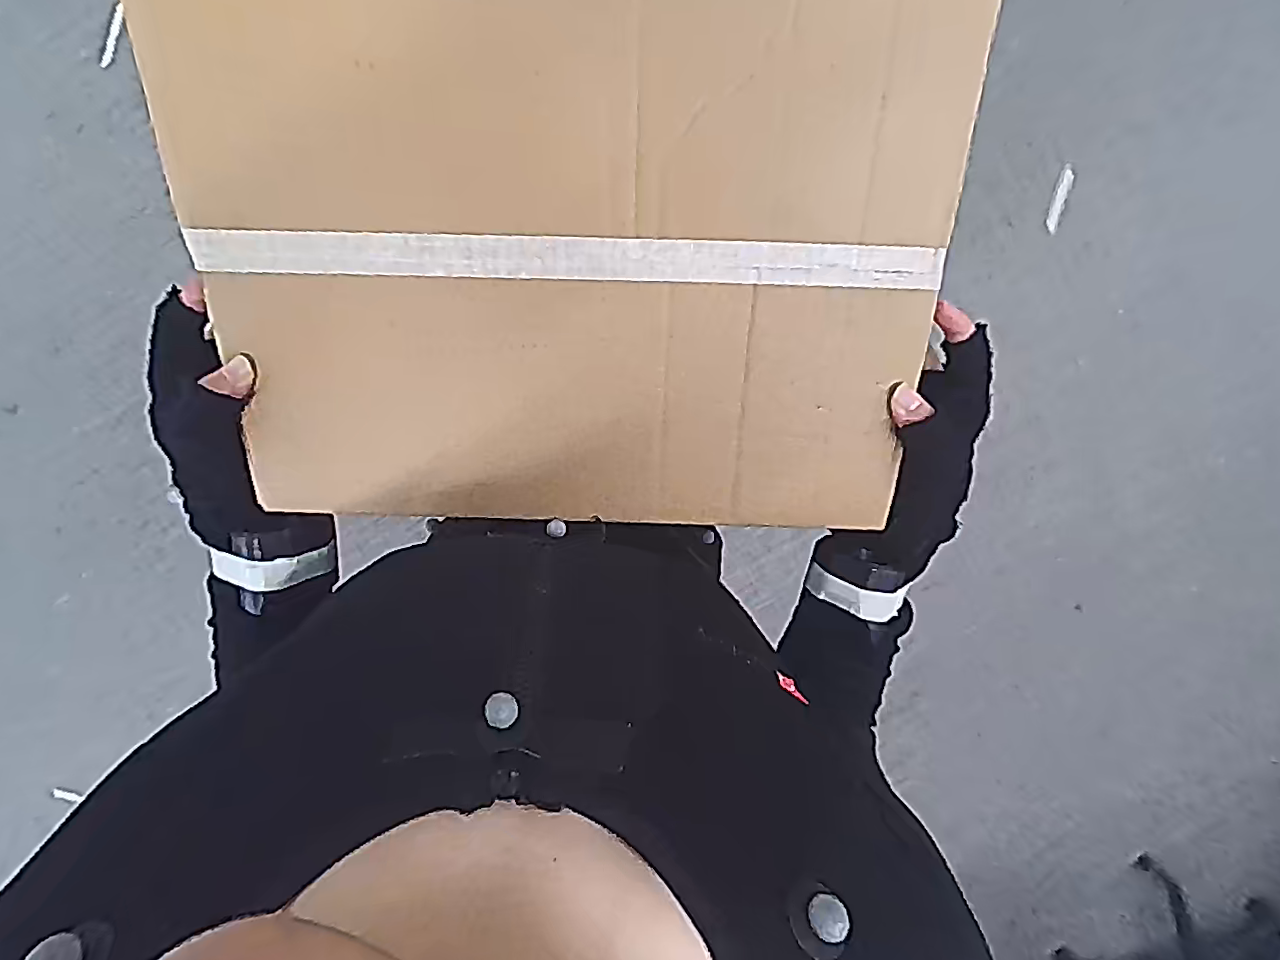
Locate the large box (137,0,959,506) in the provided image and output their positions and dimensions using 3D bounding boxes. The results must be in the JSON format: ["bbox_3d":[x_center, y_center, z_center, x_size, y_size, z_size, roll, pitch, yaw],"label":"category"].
[{"bbox_3d":[-0.046,-0.181,0.440,0.408,0.320,0.320,0,113,0],"label":"large box"}]
